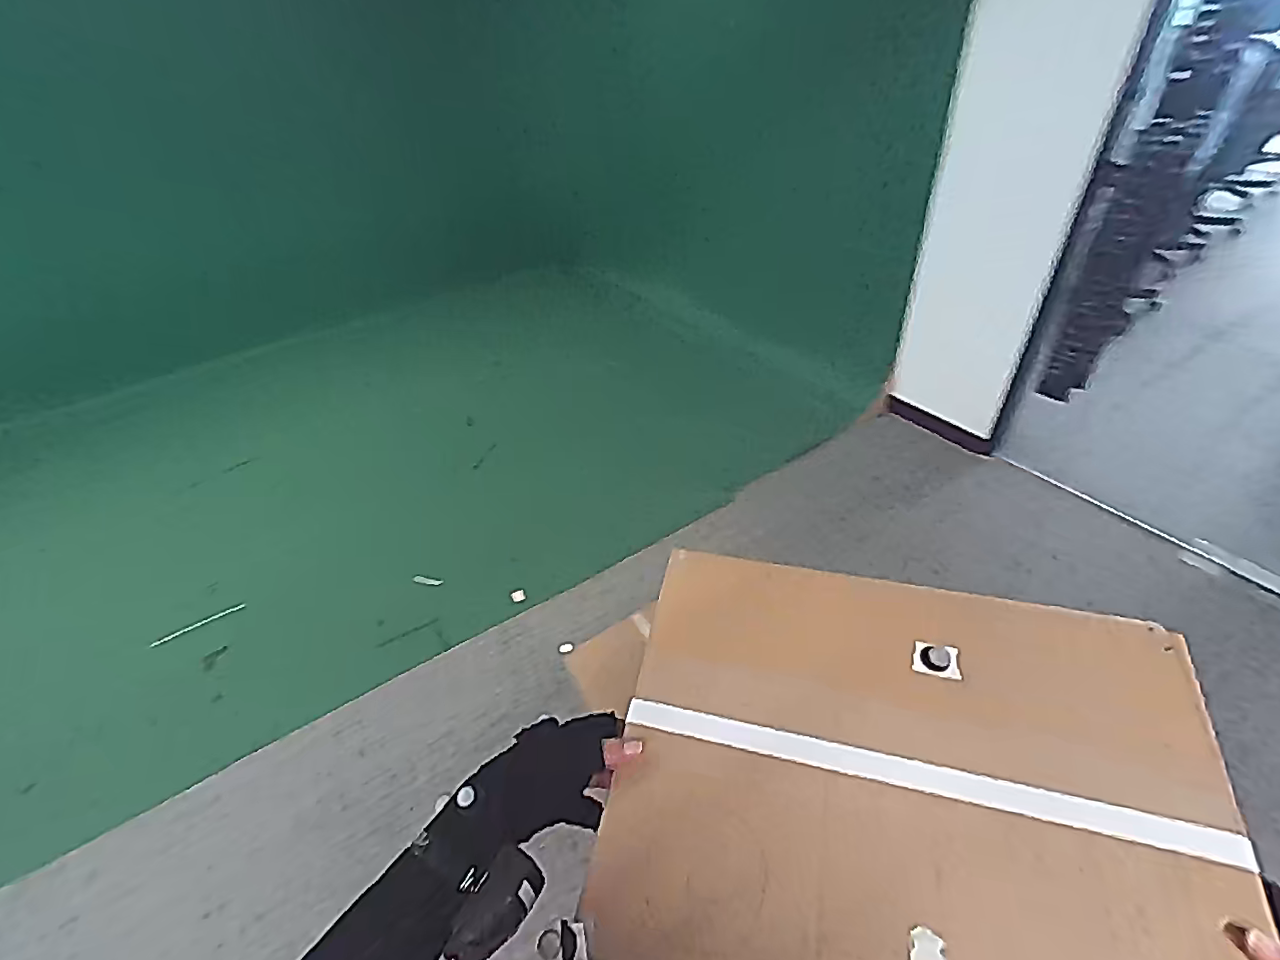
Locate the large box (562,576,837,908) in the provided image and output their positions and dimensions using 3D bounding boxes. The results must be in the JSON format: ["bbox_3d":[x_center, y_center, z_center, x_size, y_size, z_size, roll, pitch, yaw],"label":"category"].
[{"bbox_3d":[0.104,0.469,1.014,0.320,0.320,0.408,-26,43,-16],"label":"large box"}]
